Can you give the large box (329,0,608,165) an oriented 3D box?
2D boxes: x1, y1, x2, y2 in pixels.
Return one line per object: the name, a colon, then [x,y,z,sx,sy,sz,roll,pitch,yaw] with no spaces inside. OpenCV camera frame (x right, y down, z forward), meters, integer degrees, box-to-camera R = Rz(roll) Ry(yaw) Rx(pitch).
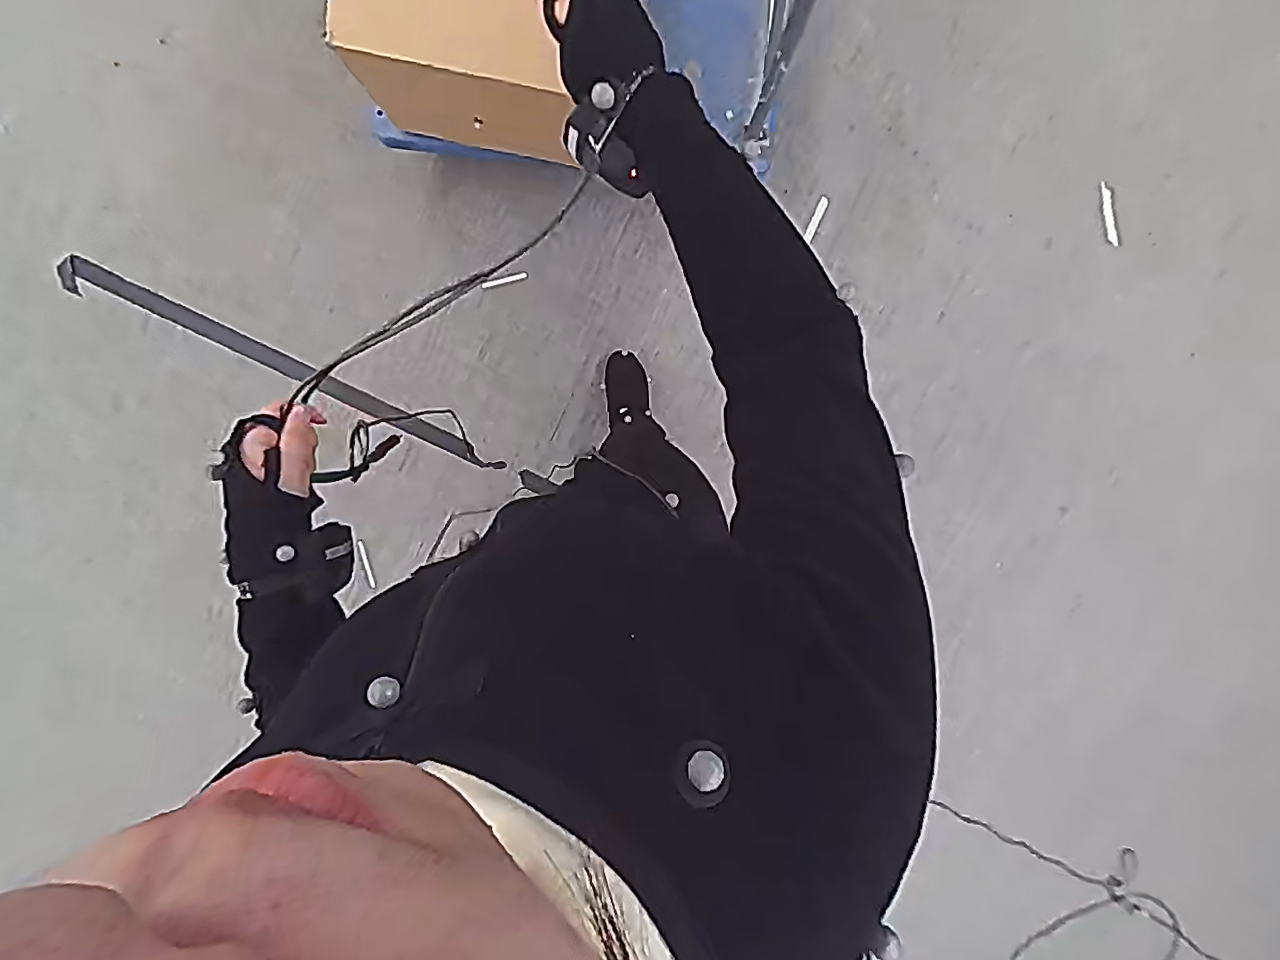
large box: [-0.278,-0.827,0.988,0.408,0.320,0.320,10,99,-4]
